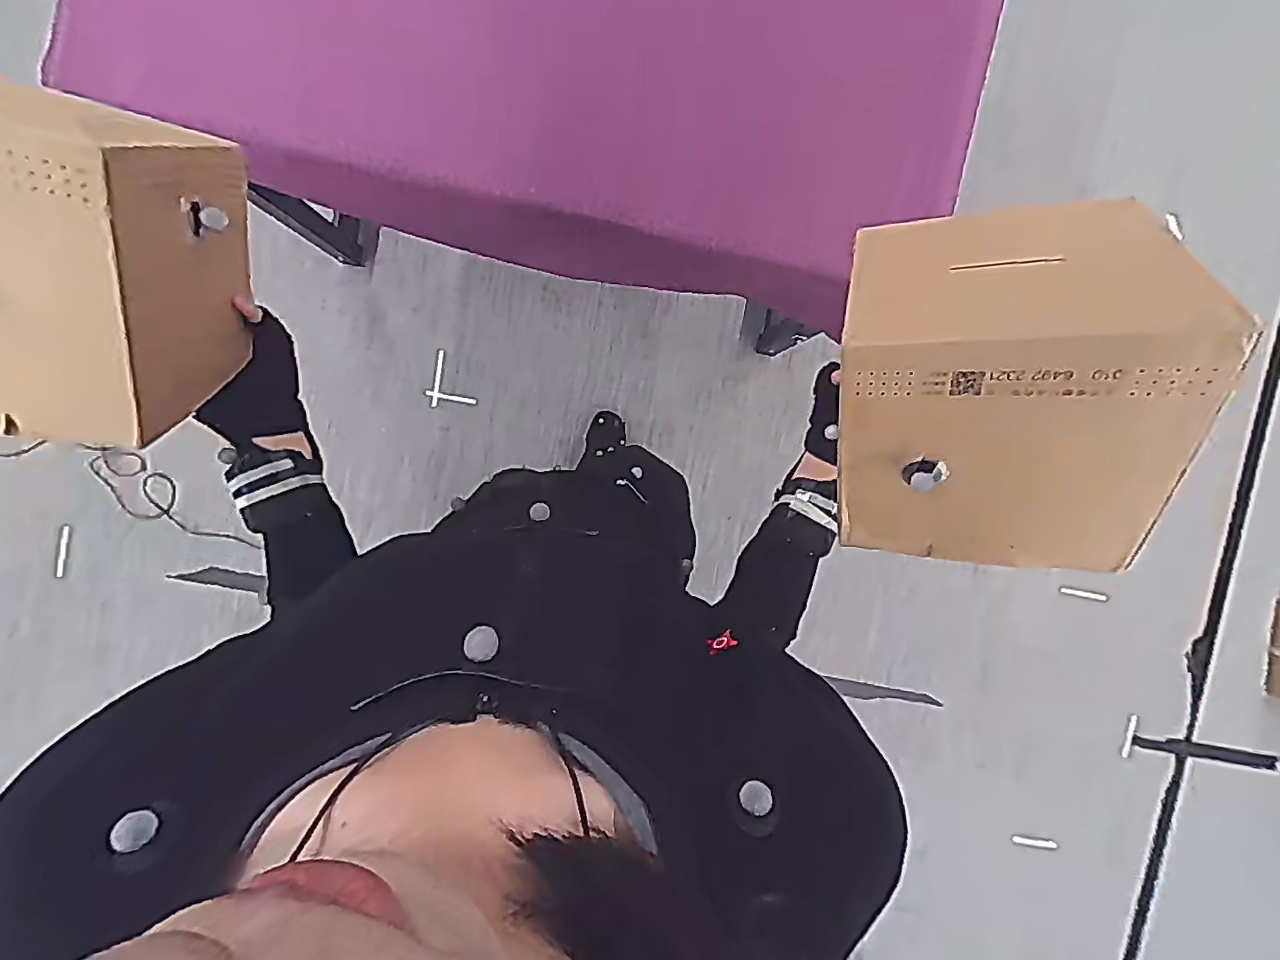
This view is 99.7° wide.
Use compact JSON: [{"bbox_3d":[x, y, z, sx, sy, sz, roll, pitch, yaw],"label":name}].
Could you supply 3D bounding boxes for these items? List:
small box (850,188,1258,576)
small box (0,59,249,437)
[{"bbox_3d":[0.228,-0.065,0.350,0.168,0.179,0.176,4,134,22],"label":"small box"},{"bbox_3d":[-0.362,-0.147,0.321,0.168,0.179,0.176,9,118,-20],"label":"small box"}]
